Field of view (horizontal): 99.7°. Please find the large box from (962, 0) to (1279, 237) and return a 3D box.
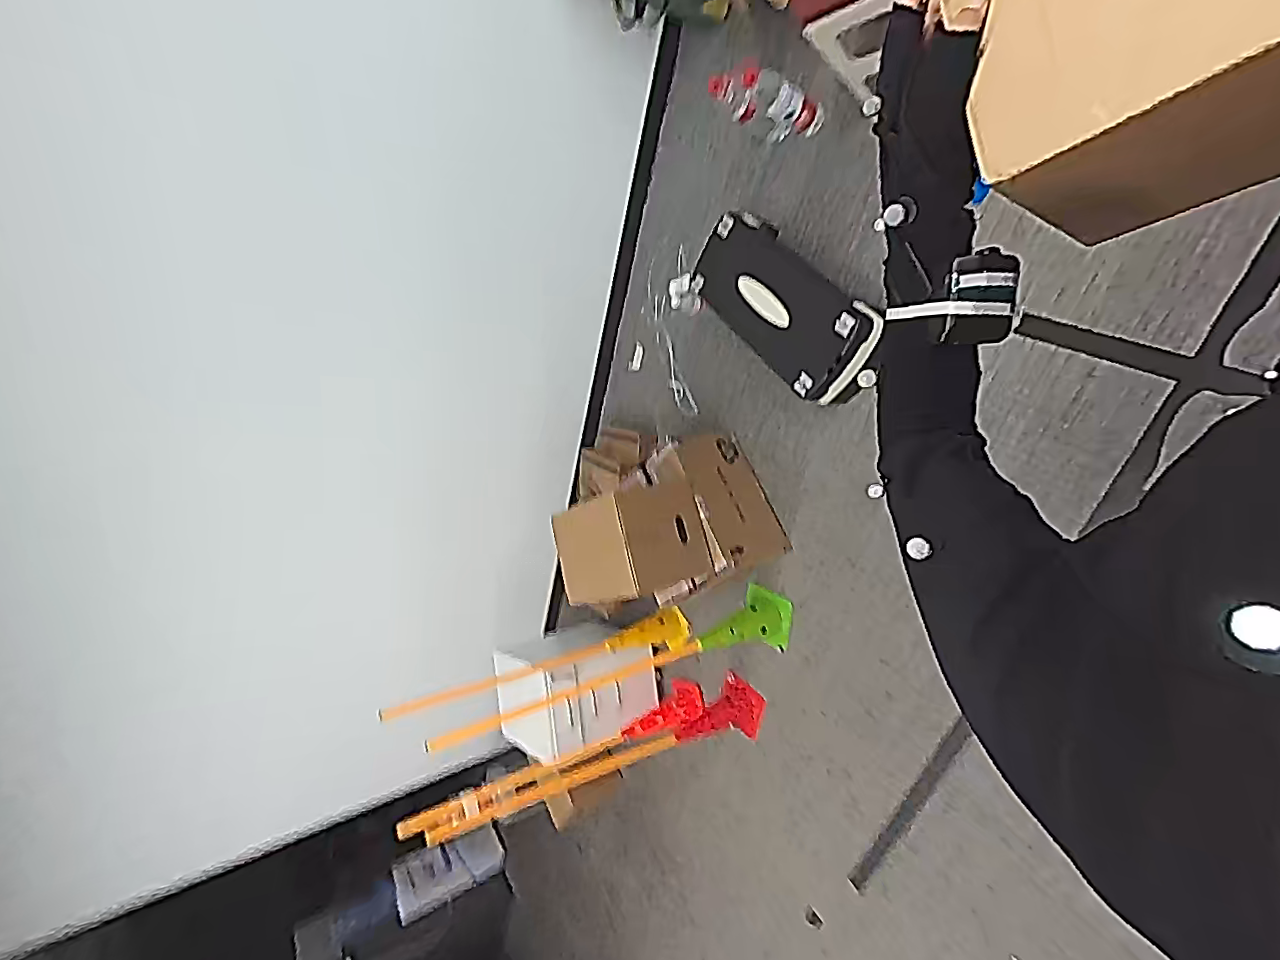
[{"bbox_3d":[0.444,-0.402,0.311,0.408,0.320,0.320,-12,89,49],"label":"large box"}]
